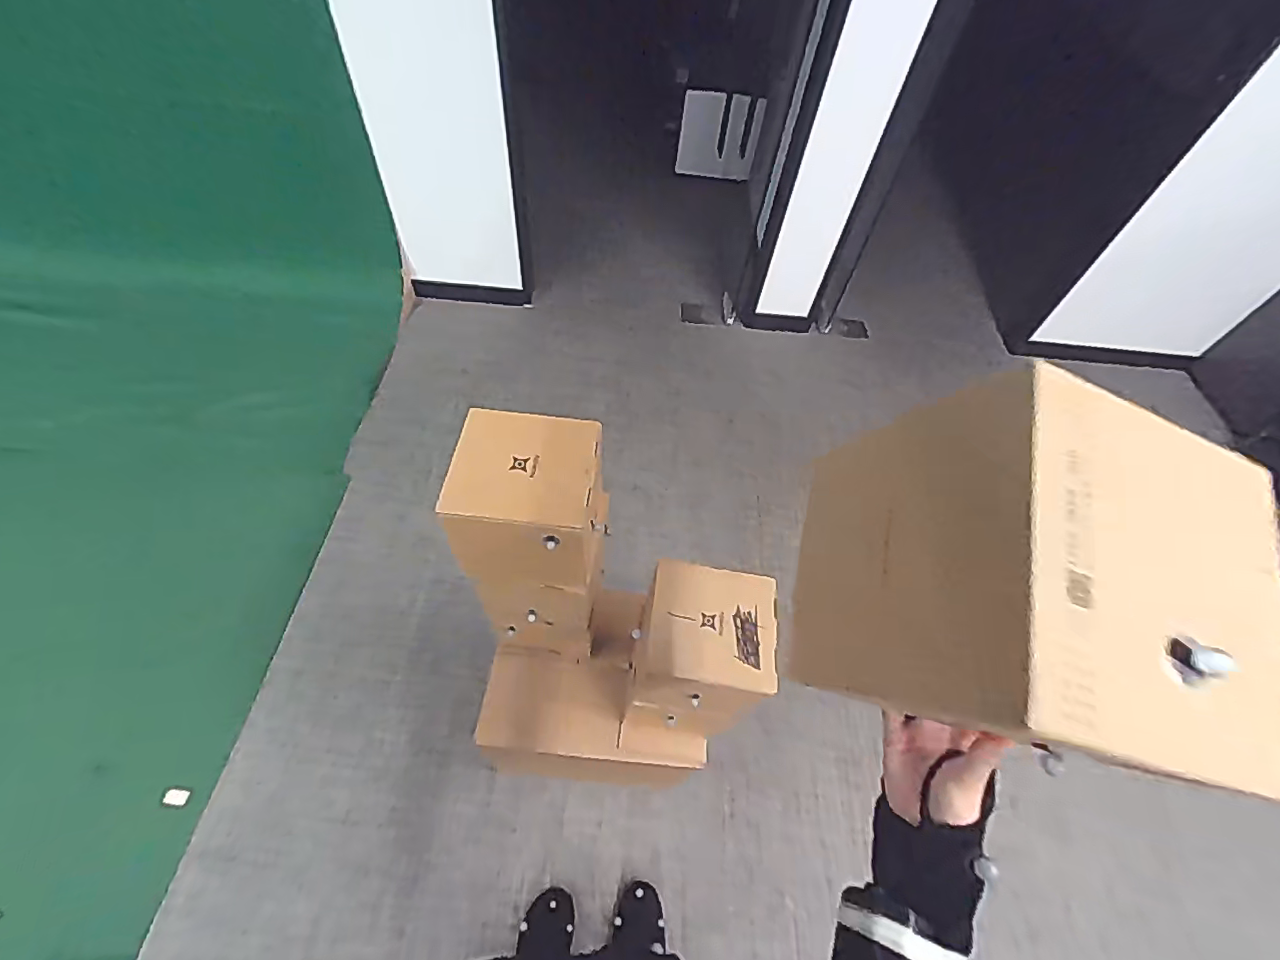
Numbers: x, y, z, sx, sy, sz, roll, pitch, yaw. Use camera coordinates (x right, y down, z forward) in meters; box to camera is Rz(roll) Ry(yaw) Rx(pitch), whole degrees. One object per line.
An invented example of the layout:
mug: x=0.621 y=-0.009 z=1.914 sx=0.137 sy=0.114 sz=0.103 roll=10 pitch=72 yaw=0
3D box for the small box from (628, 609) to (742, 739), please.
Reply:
small box: x=0.075 y=0.340 z=0.938 sx=0.179 sy=0.176 sz=0.168 roll=8 pitch=56 yaw=1

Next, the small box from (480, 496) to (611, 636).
small box: x=-0.146 y=0.127 z=0.868 sx=0.168 sy=0.176 sz=0.179 roll=10 pitch=55 yaw=3

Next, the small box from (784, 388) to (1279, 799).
small box: x=0.210 y=0.064 z=0.320 sx=0.176 sy=0.179 sz=0.168 roll=19 pitch=71 yaw=-13

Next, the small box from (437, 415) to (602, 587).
small box: x=-0.147 y=0.034 z=0.734 sx=0.179 sy=0.176 sz=0.168 roll=5 pitch=55 yaw=0

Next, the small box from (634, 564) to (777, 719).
small box: x=0.094 y=0.246 z=0.805 sx=0.179 sy=0.176 sz=0.168 roll=9 pitch=55 yaw=1
